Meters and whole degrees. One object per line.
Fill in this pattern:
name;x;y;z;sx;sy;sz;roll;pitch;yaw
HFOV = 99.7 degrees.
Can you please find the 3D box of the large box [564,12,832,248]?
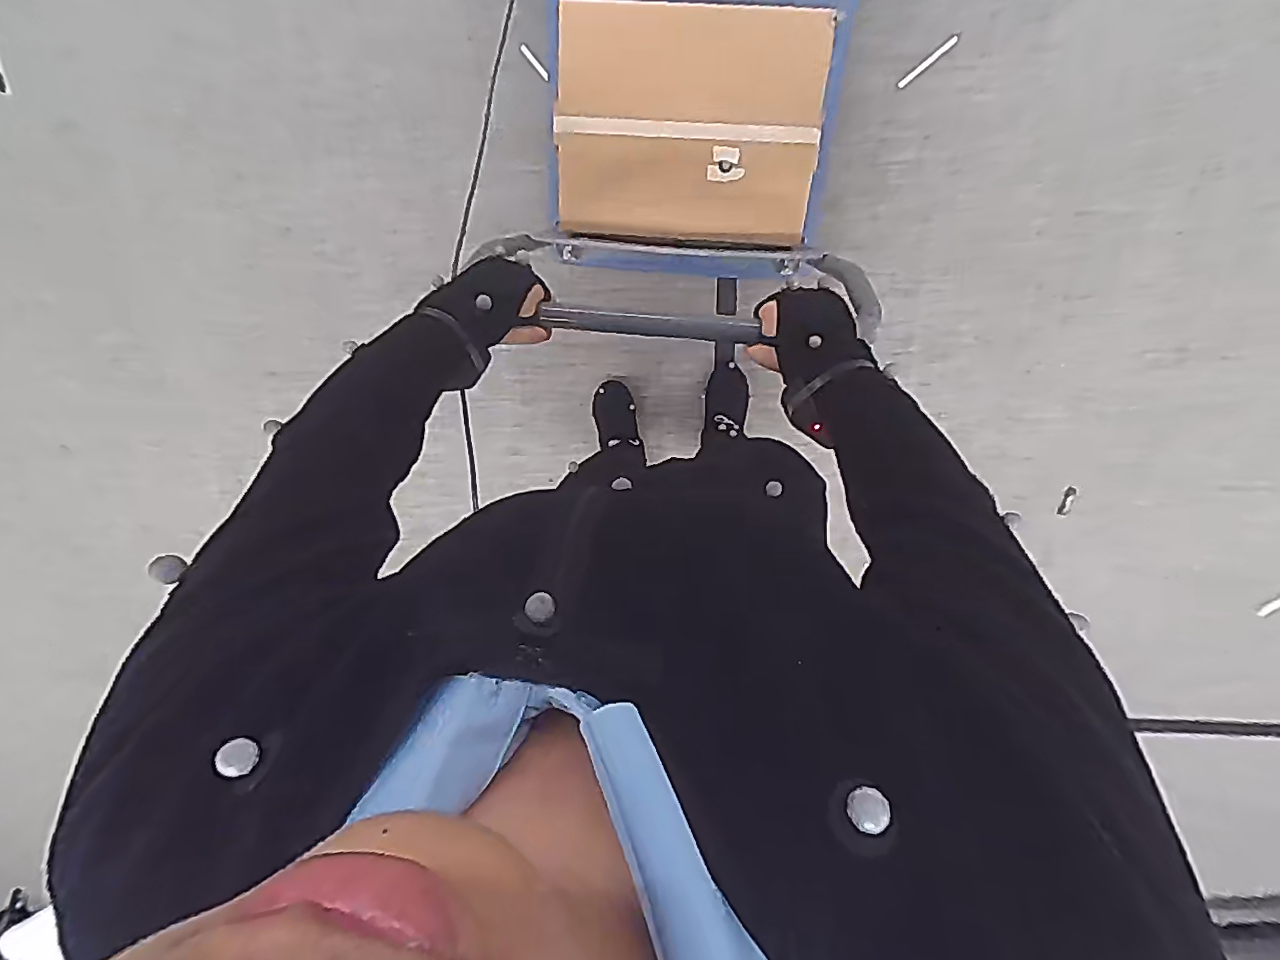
large box;0.087;-0.603;0.993;0.408;0.320;0.320;5;114;3
